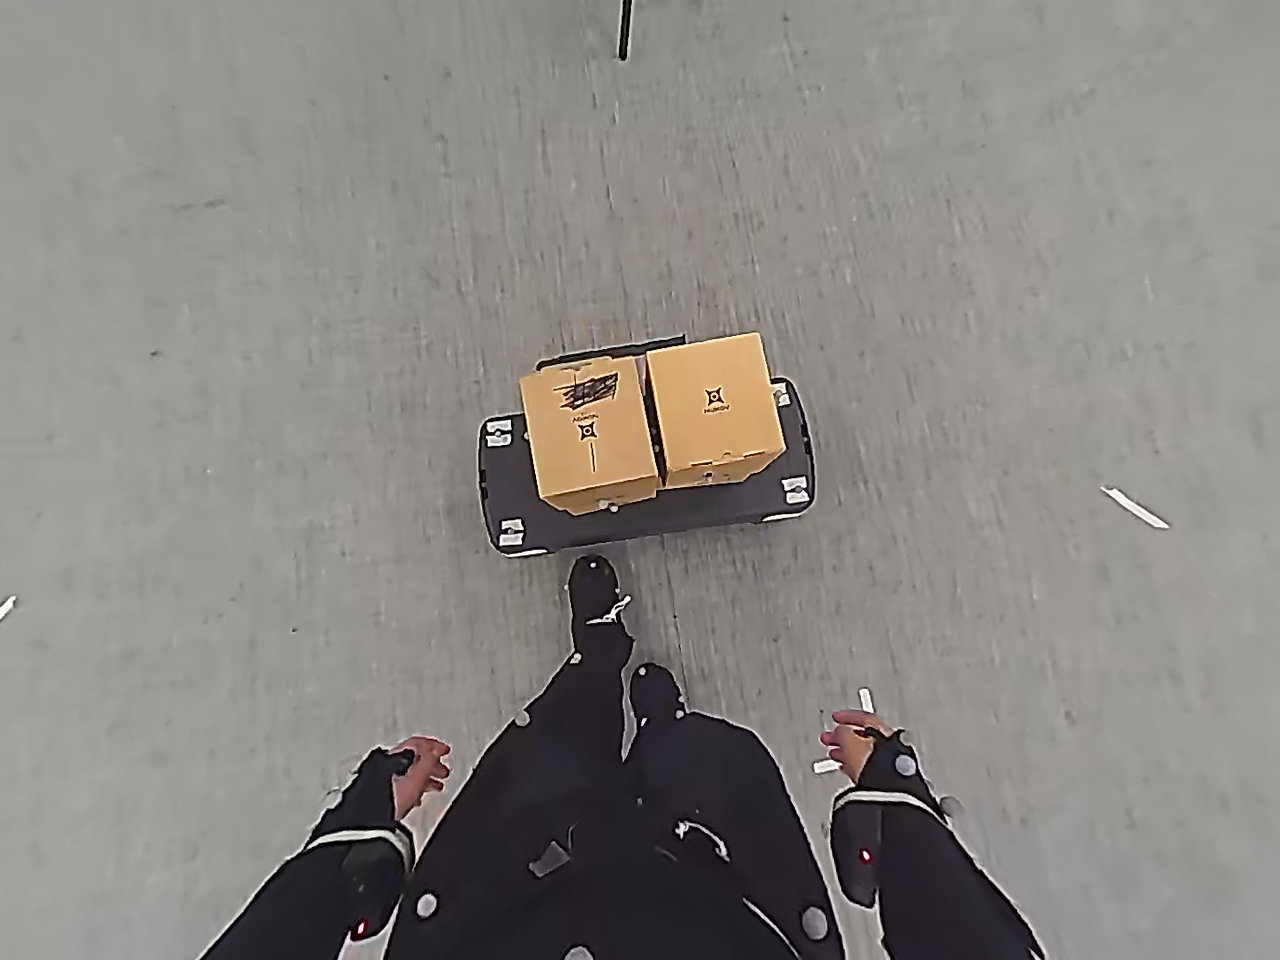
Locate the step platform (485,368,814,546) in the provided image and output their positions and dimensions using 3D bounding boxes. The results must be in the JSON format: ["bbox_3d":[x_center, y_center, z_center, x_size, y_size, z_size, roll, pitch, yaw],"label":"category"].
[{"bbox_3d":[0.019,-0.043,1.168,0.684,0.204,0.286,-9,80,0],"label":"step platform"}]
